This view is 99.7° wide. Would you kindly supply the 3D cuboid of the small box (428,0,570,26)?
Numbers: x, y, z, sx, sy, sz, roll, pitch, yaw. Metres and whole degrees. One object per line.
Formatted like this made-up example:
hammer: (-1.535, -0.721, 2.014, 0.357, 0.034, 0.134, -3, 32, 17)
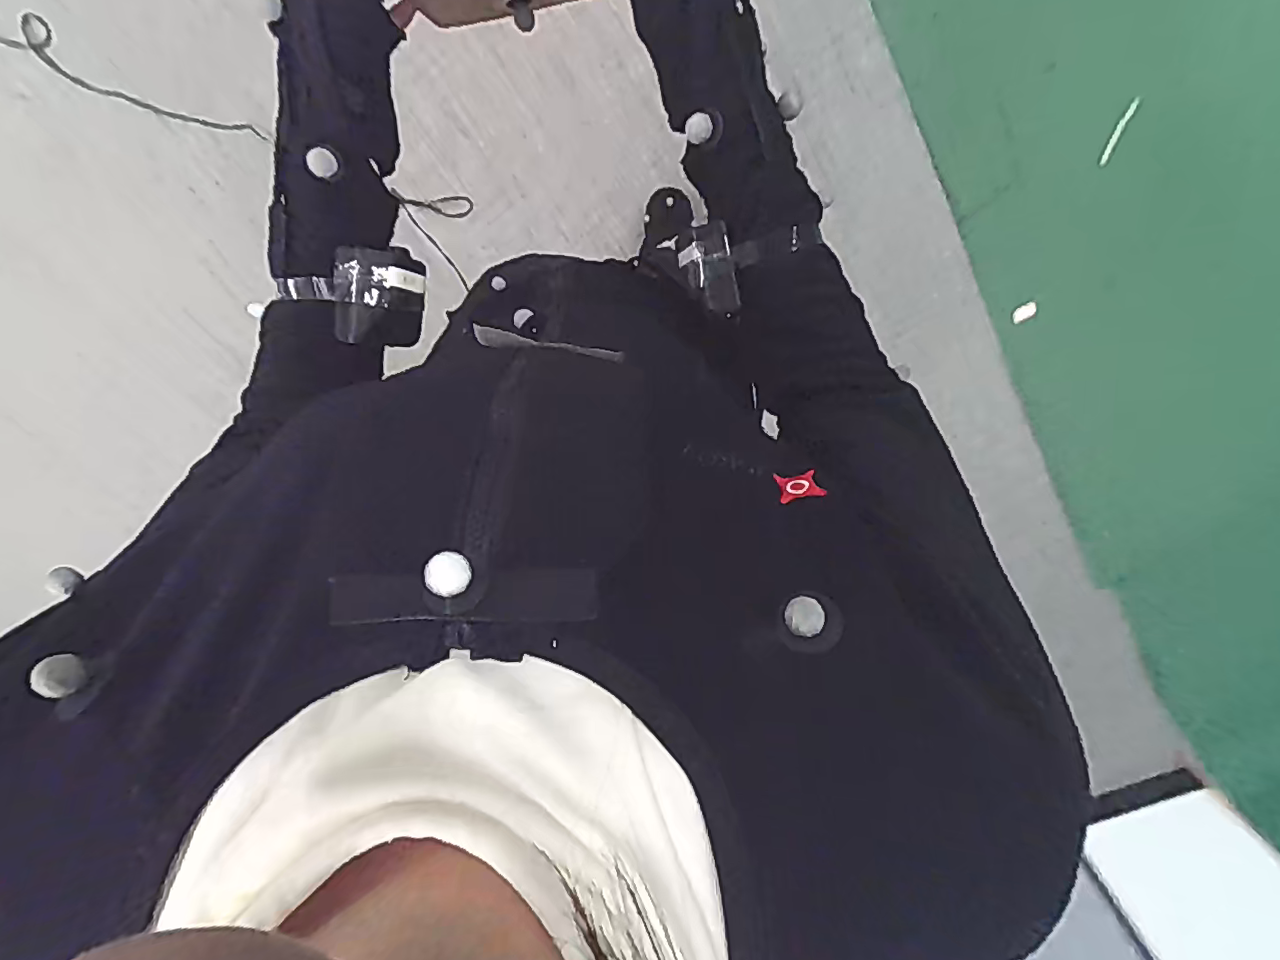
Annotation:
small box: (-0.095, -0.415, 0.319, 0.168, 0.176, 0.179, -9, 118, 6)
